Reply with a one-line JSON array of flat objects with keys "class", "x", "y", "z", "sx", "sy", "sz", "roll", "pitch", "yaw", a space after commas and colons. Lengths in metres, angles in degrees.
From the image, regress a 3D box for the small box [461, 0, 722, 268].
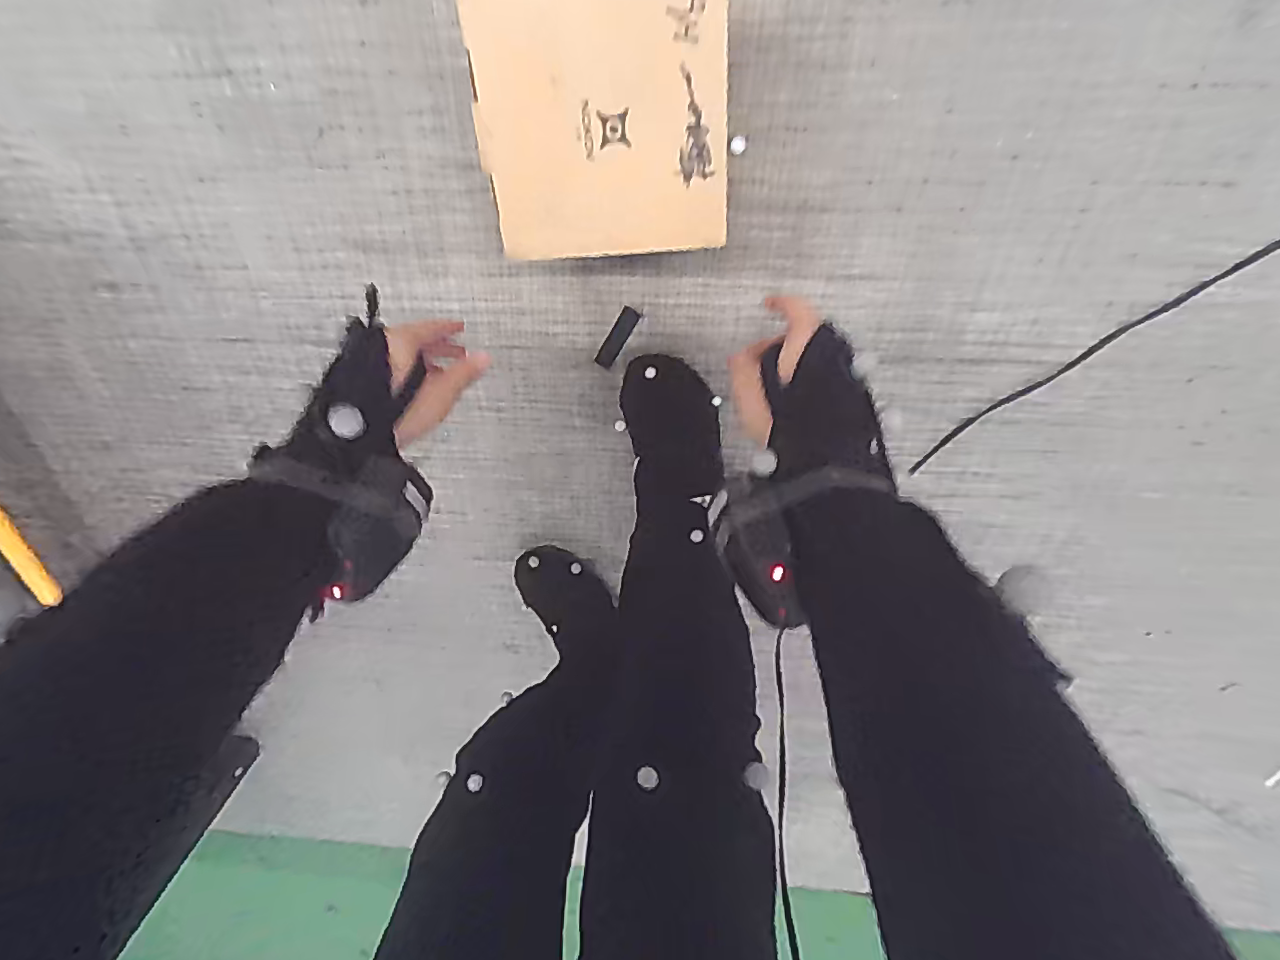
[{"class": "small box", "x": -0.021, "y": -0.283, "z": 0.456, "sx": 0.179, "sy": 0.176, "sz": 0.168, "roll": -1, "pitch": 121, "yaw": 7}]
